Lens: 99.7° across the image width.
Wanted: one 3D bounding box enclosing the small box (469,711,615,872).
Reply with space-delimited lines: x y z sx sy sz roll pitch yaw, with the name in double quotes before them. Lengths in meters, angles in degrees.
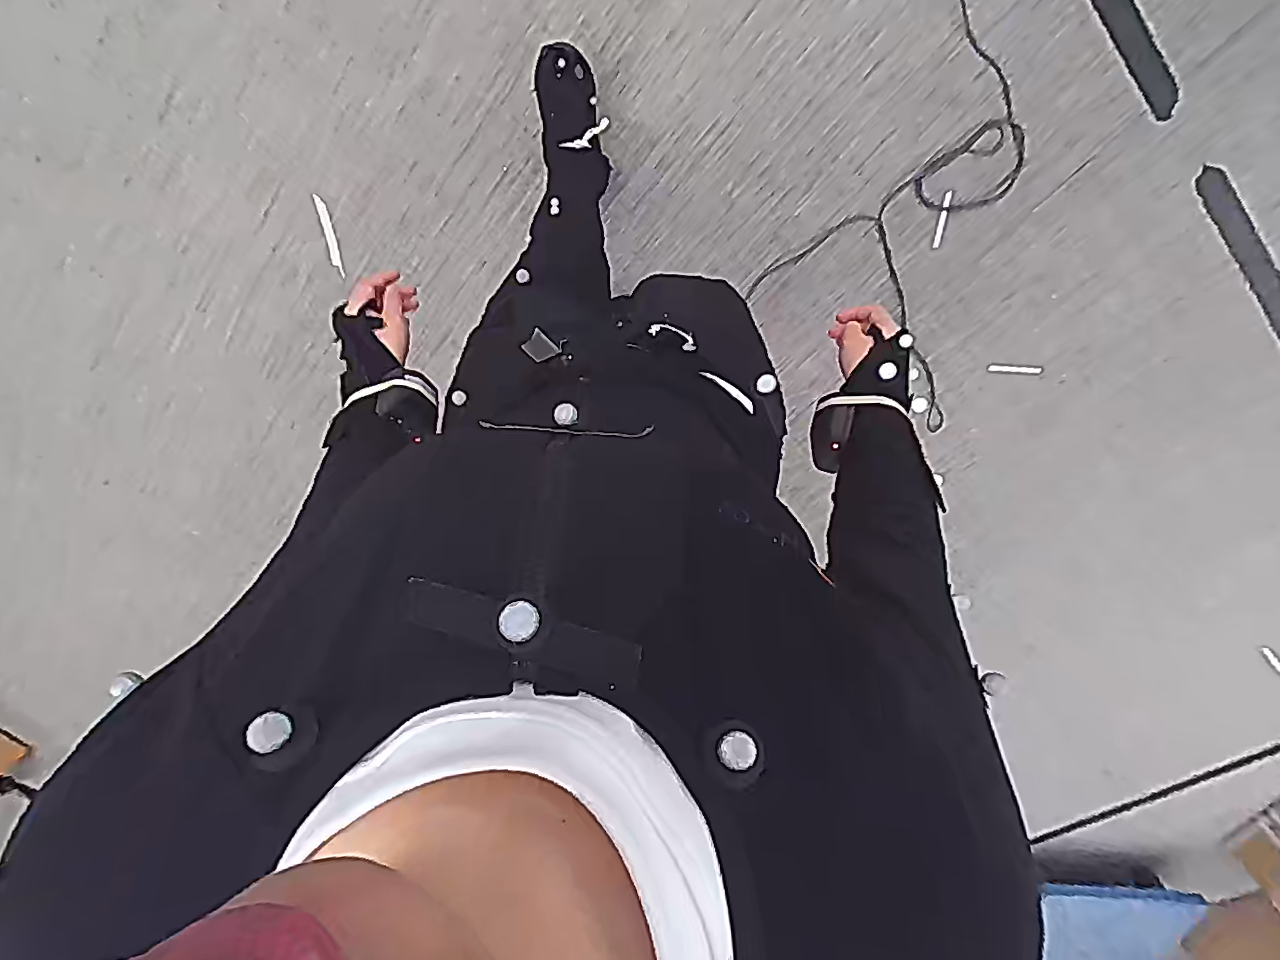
"small box" -0.162 0.538 0.952 0.179 0.176 0.168 42 113 -18
